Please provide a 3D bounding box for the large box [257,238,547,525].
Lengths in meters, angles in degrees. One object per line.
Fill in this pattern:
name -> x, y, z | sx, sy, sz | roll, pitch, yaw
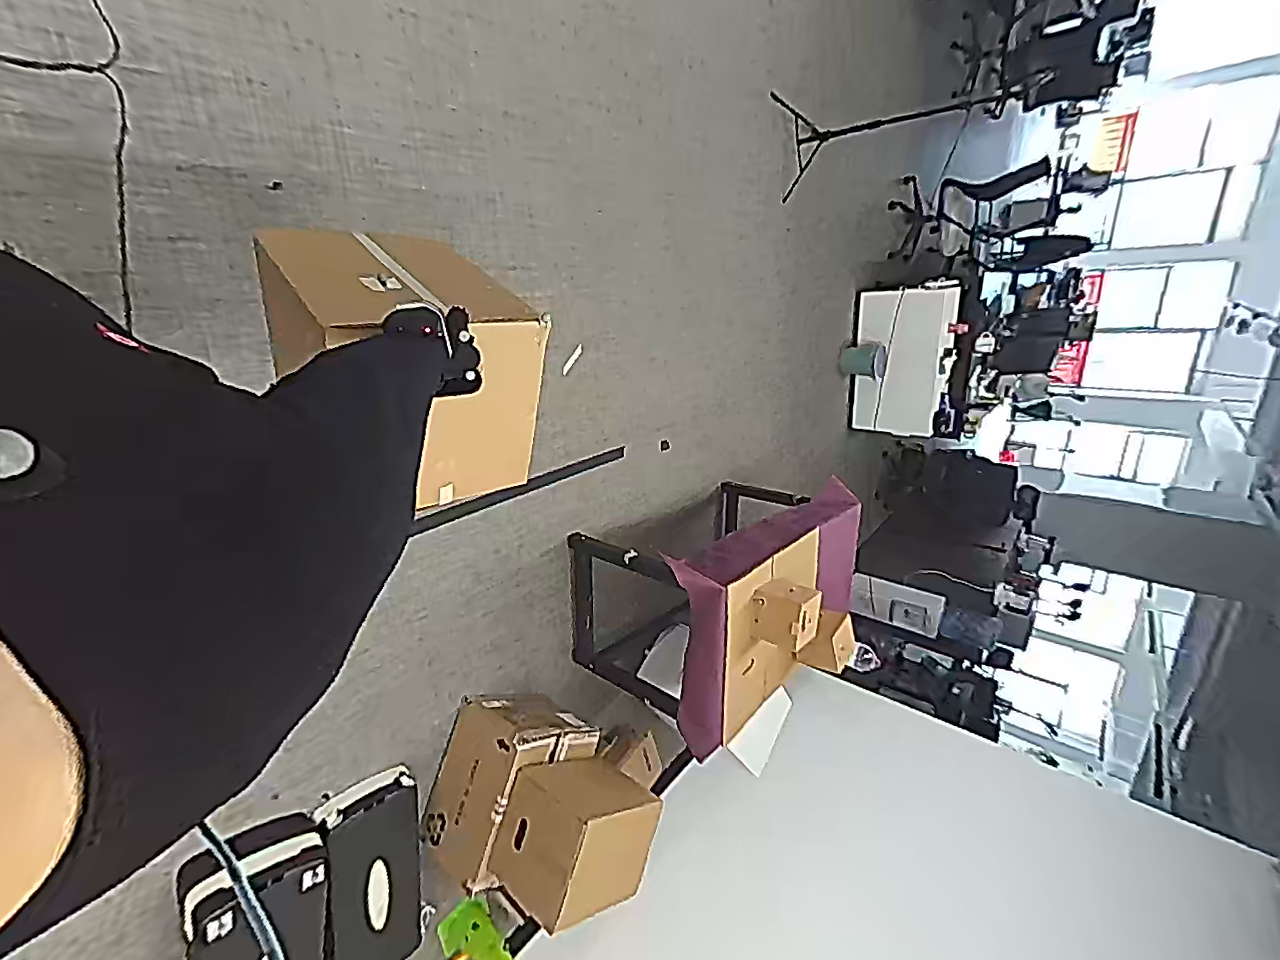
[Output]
large box -> -0.420, -0.187, 0.941 | 0.320, 0.408, 0.320 | -16, 135, -39
